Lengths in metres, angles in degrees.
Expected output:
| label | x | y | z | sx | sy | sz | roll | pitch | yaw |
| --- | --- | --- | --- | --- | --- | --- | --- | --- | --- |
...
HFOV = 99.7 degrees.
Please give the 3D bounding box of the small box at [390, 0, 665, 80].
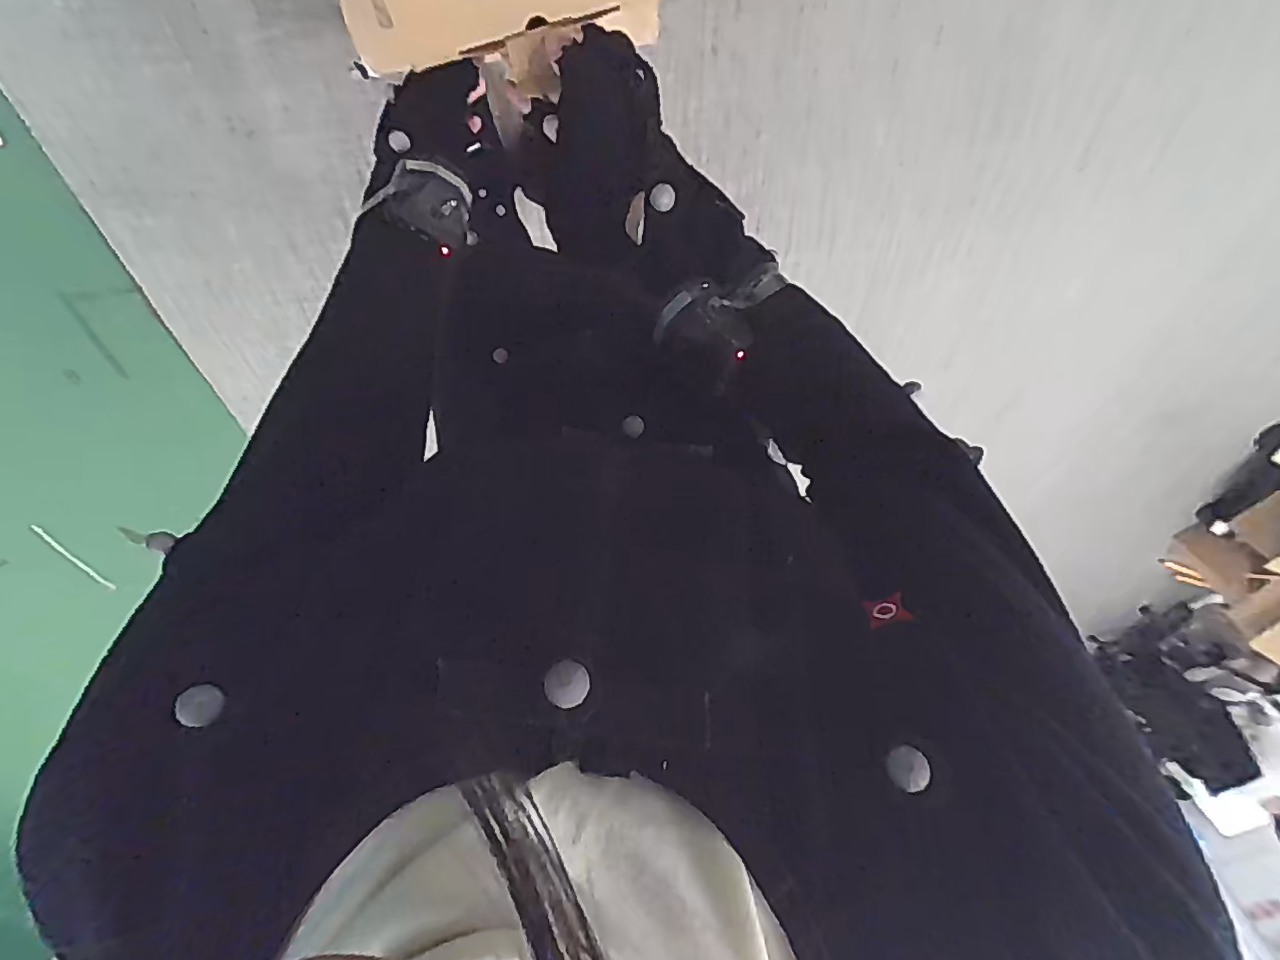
| label | x | y | z | sx | sy | sz | roll | pitch | yaw |
| --- | --- | --- | --- | --- | --- | --- | --- | --- | --- |
| small box | -0.090 | -0.388 | 0.337 | 0.168 | 0.176 | 0.179 | -16 | 135 | 2 |
